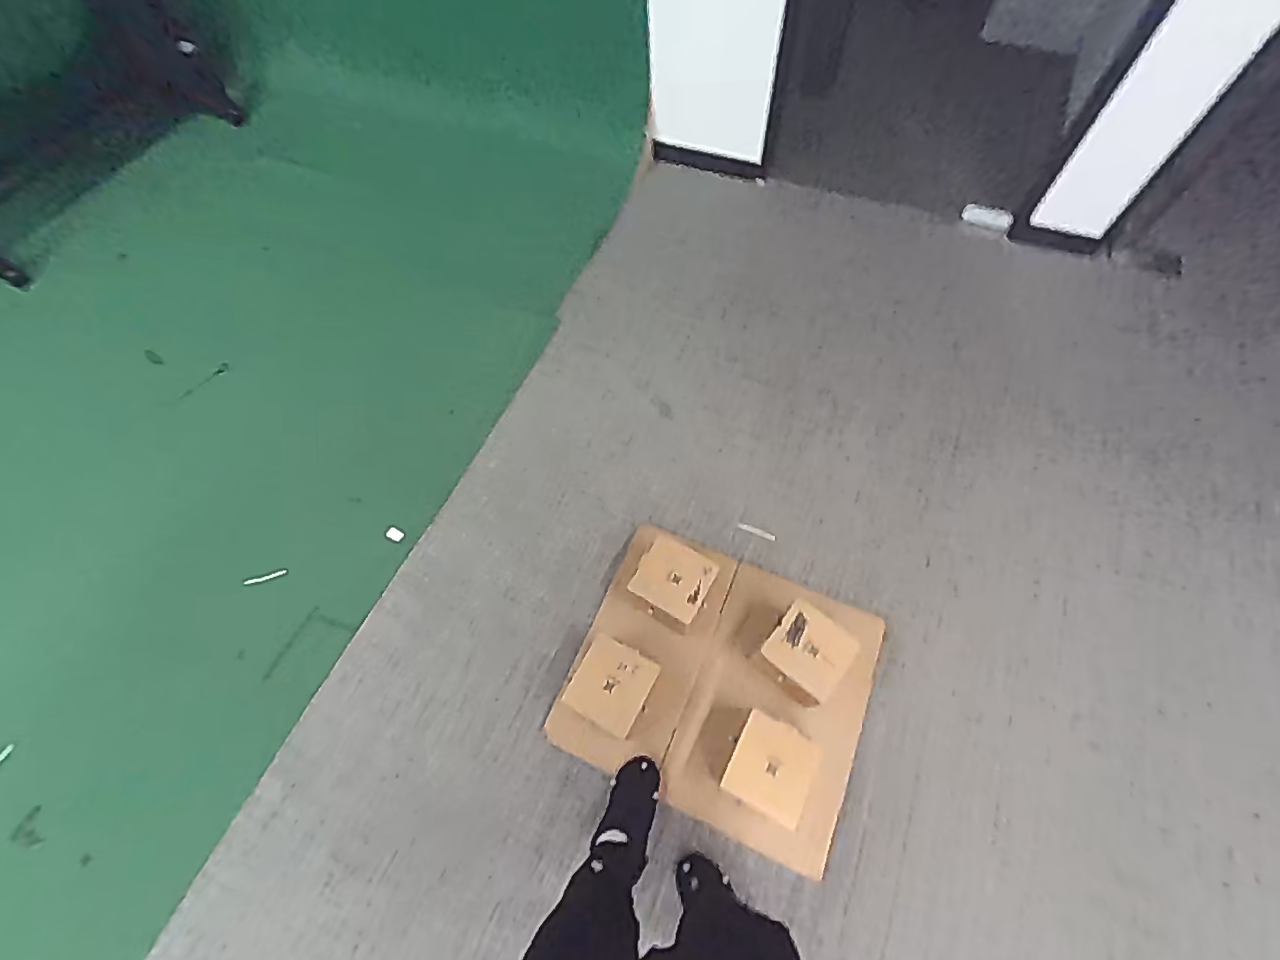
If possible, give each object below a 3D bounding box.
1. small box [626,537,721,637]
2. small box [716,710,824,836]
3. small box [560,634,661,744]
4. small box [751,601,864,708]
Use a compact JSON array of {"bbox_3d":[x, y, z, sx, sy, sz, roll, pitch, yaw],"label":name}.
[{"bbox_3d":[0.084,0.276,1.362,0.179,0.176,0.168,28,68,15],"label":"small box"},{"bbox_3d":[0.275,0.630,1.176,0.168,0.176,0.179,26,67,14],"label":"small box"},{"bbox_3d":[-0.059,0.491,1.261,0.168,0.176,0.179,27,68,14],"label":"small box"},{"bbox_3d":[0.383,0.418,1.273,0.179,0.176,0.168,38,71,17],"label":"small box"}]
